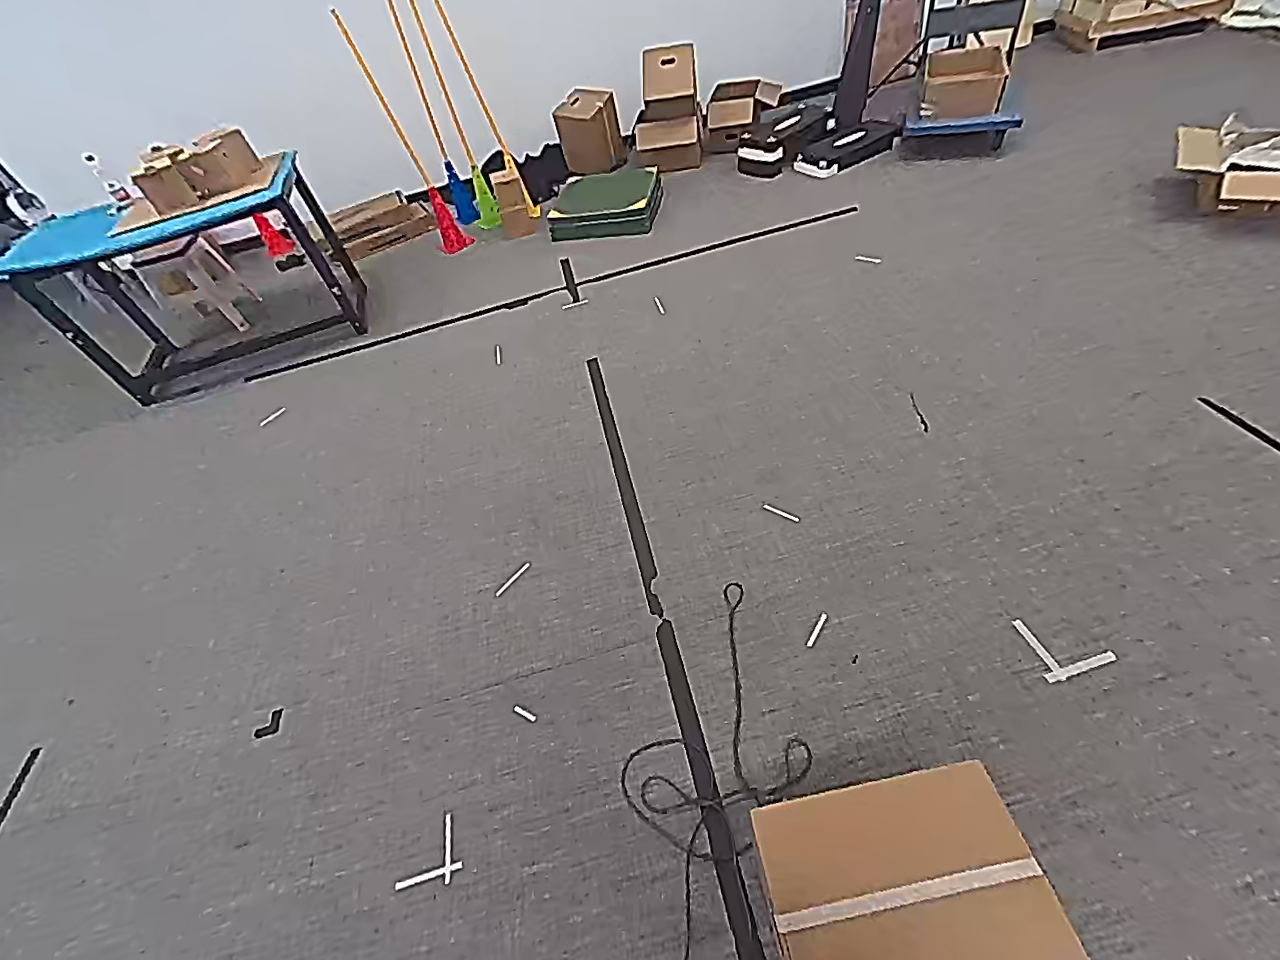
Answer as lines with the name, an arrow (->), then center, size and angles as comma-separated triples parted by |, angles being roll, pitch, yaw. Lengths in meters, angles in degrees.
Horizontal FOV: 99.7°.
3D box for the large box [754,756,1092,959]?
large box -> 0.438, 0.730, 0.935 | 0.408, 0.320, 0.320 | -14, 48, 1
